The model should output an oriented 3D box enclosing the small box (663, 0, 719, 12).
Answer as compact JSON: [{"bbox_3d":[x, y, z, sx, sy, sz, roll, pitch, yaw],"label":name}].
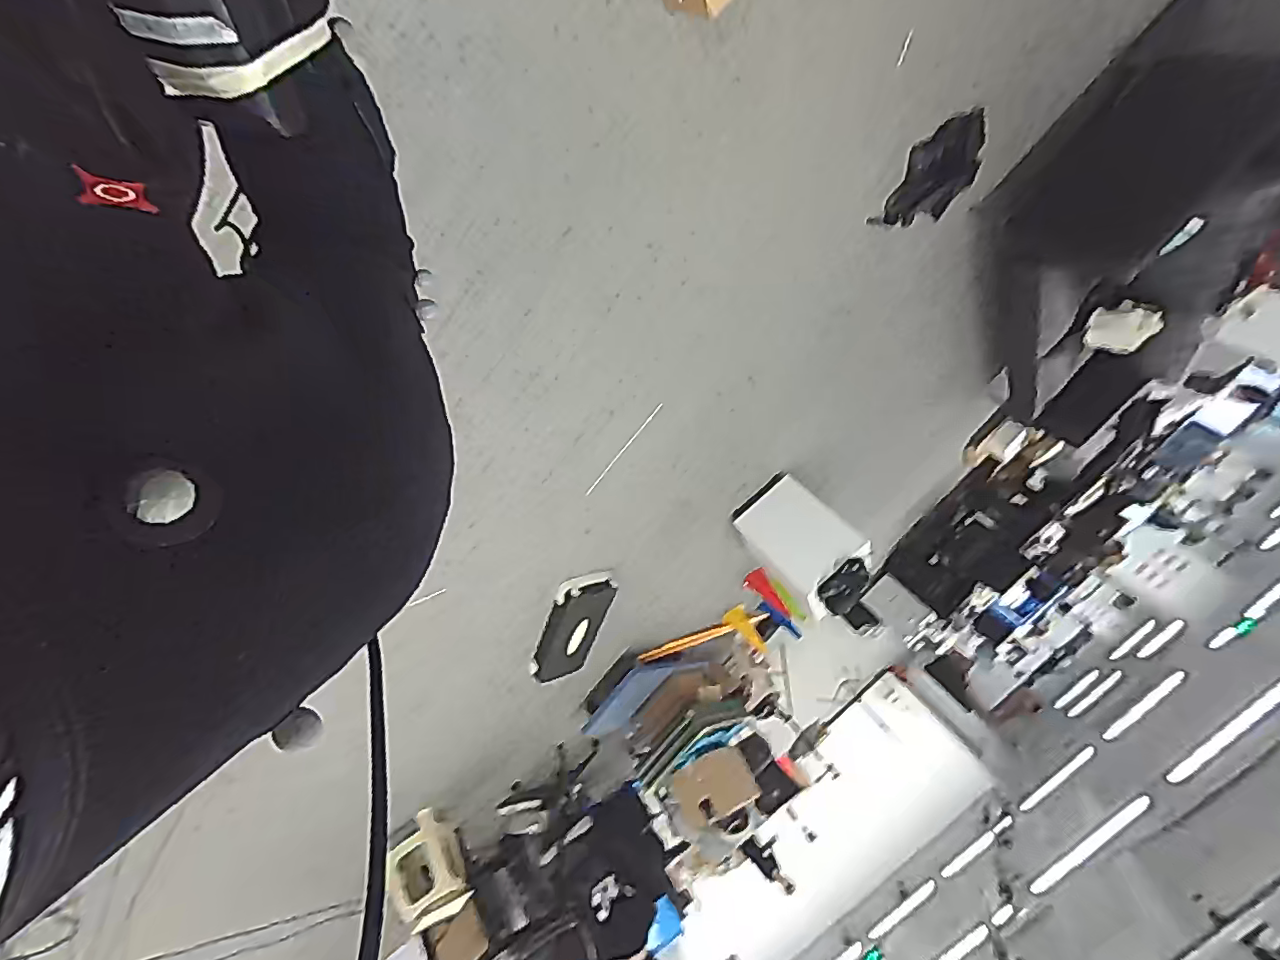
[{"bbox_3d":[0.117,-1.120,1.110,0.179,0.176,0.168,-47,147,5],"label":"small box"}]
